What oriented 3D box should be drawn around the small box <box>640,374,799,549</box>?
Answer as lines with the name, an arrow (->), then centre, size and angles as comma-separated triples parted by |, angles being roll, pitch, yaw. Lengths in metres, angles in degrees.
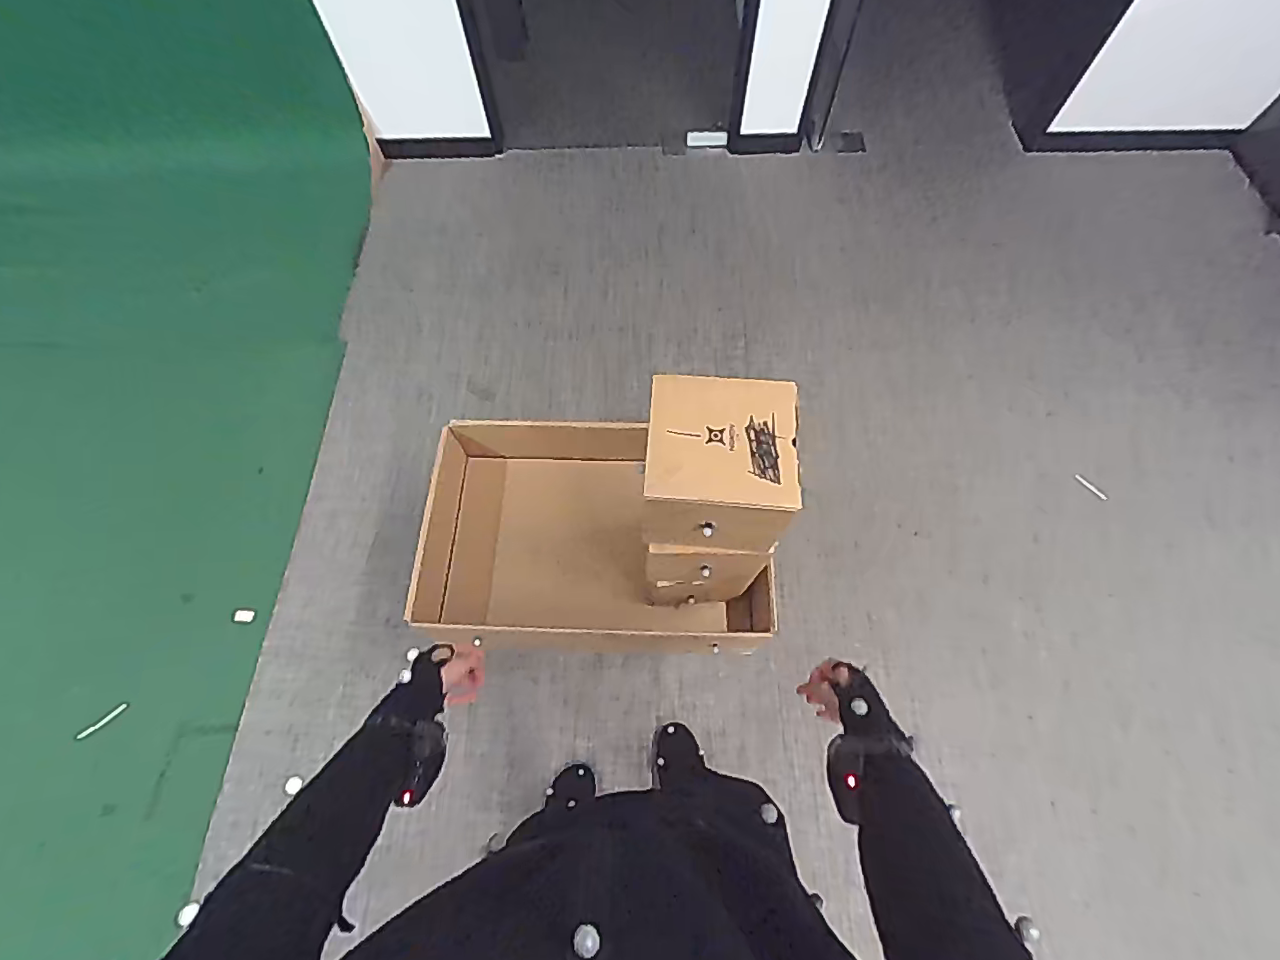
small box -> 0.094, -0.015, 0.693 | 0.179, 0.176, 0.168 | 4, 66, 3
